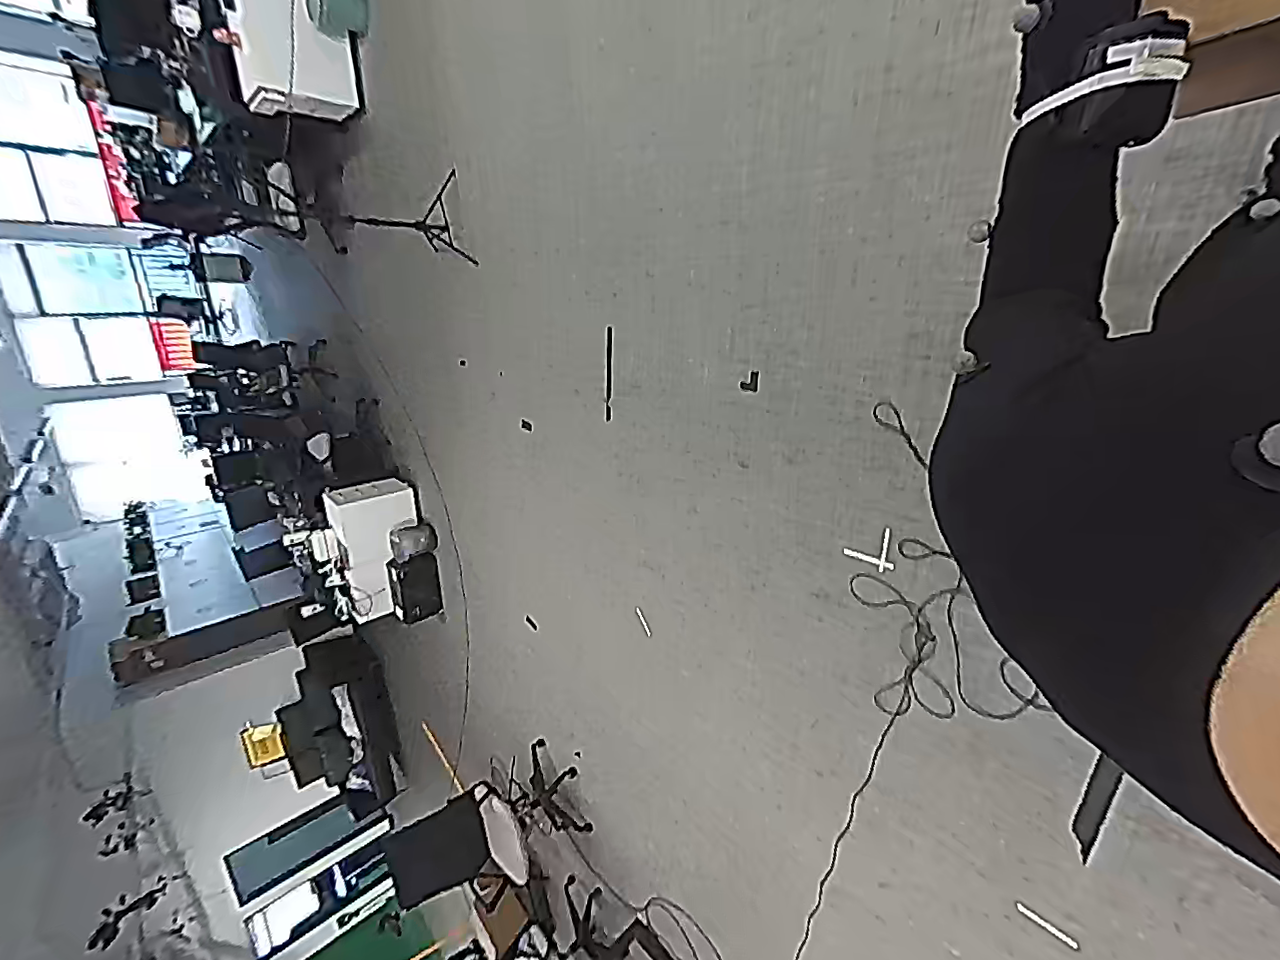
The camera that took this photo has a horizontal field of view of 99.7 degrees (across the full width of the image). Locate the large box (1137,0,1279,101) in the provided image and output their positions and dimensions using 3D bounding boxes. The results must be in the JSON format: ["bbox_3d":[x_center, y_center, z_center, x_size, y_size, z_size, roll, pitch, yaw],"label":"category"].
[{"bbox_3d":[0.564,-0.472,0.288,0.408,0.320,0.320,10,115,46],"label":"large box"}]
